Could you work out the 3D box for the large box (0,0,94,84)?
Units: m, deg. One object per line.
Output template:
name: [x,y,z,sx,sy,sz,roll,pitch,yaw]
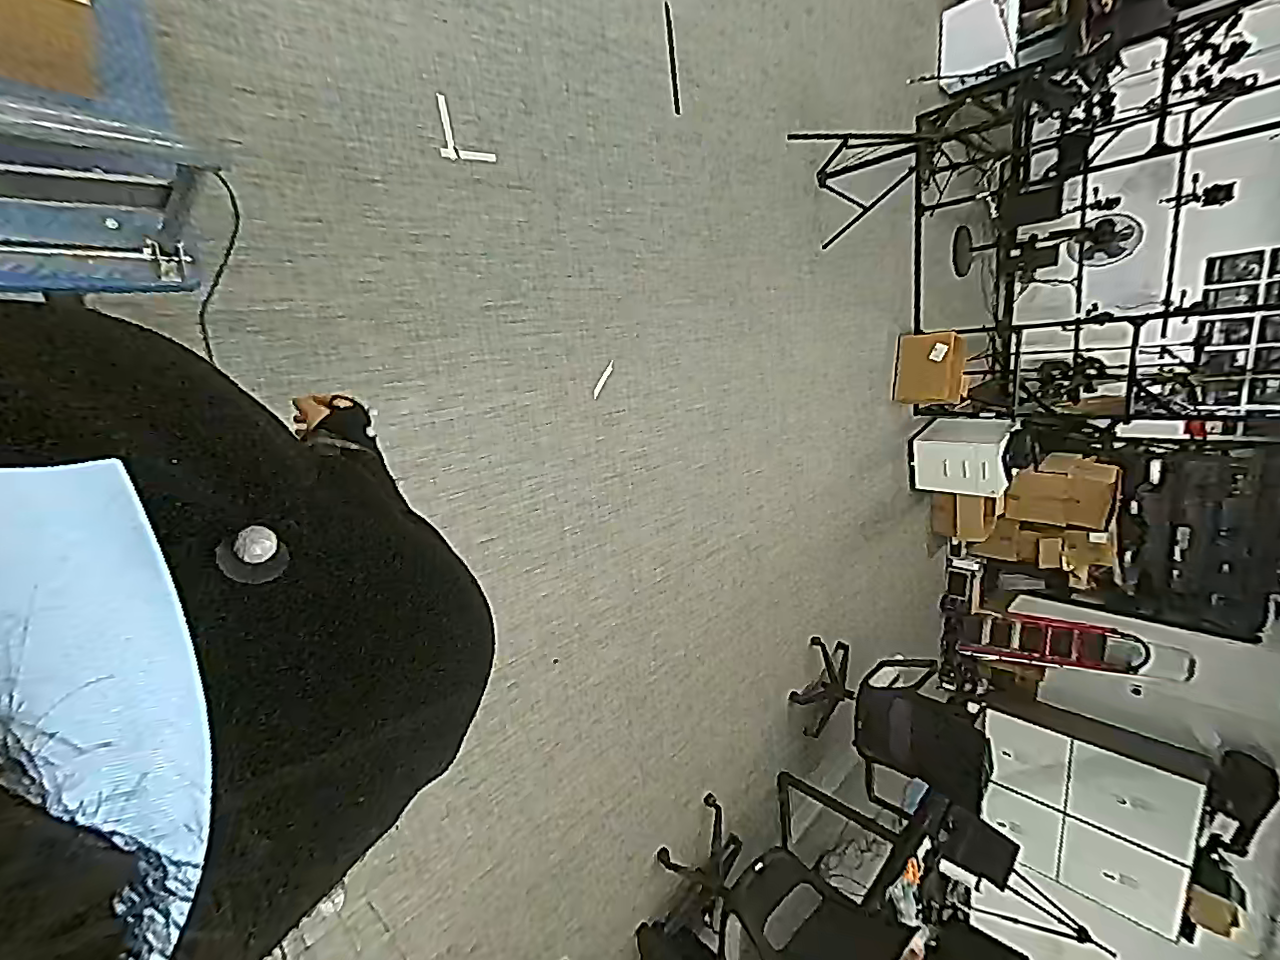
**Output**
large box: [-0.977,-0.755,0.646,0.408,0.320,0.320,-13,104,-41]
